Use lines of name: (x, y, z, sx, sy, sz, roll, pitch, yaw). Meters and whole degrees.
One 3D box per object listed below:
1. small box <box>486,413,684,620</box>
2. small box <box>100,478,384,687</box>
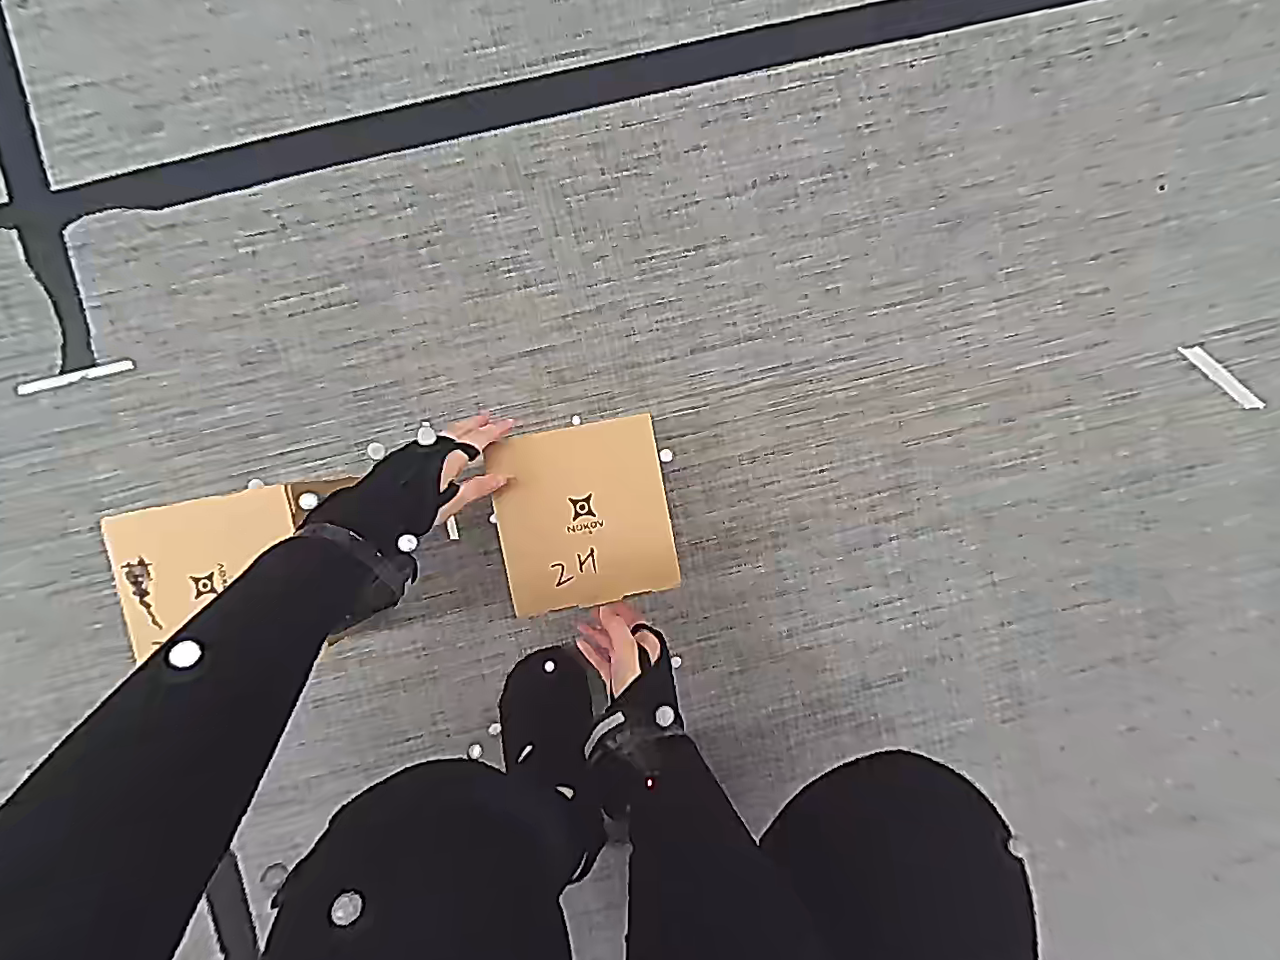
small box: (-0.055, 0.032, 0.591, 0.168, 0.176, 0.179, -10, 93, -2)
small box: (-0.397, 0.094, 0.580, 0.179, 0.176, 0.168, -10, 93, -3)
